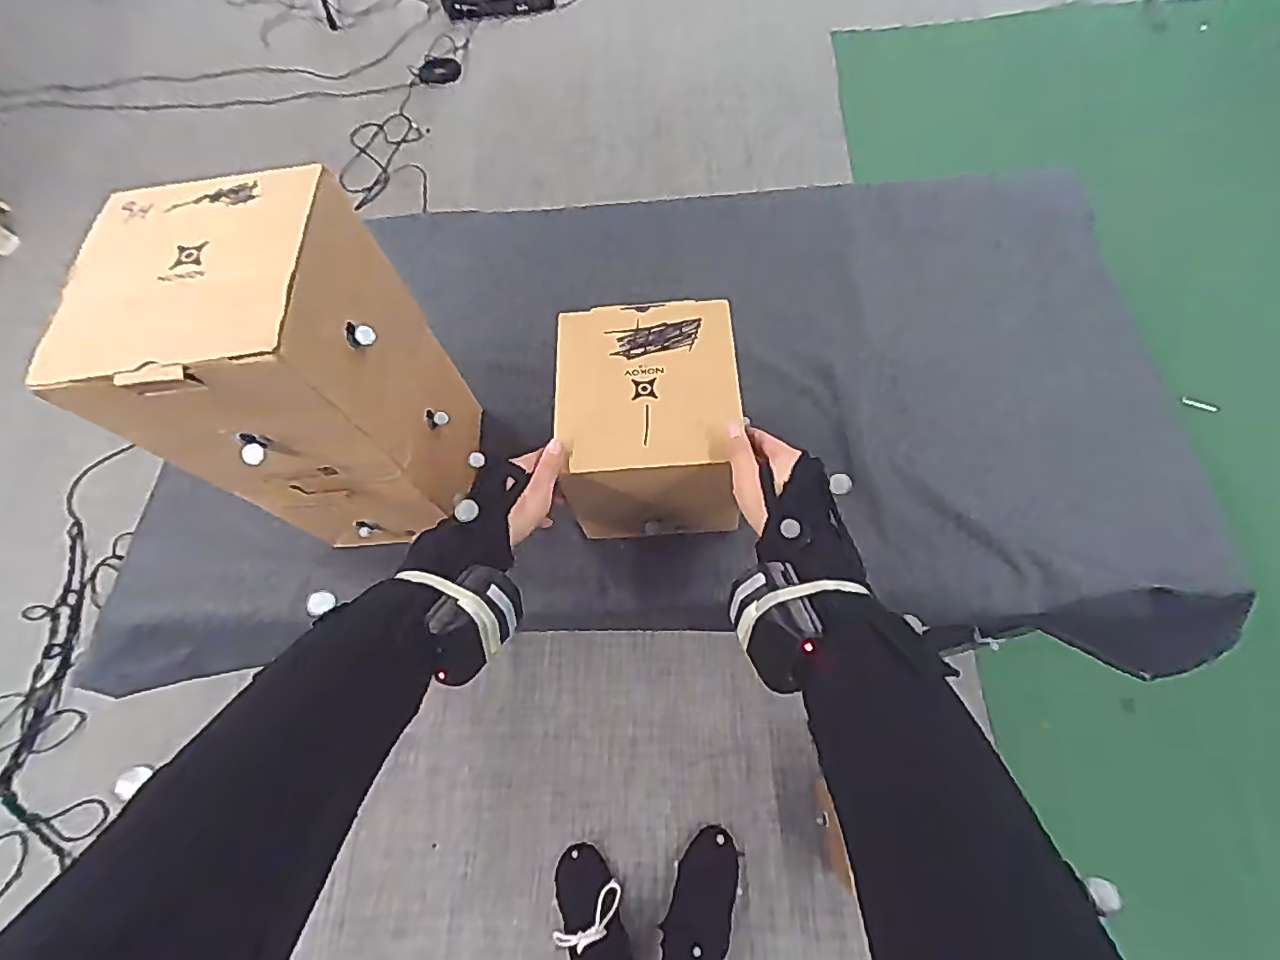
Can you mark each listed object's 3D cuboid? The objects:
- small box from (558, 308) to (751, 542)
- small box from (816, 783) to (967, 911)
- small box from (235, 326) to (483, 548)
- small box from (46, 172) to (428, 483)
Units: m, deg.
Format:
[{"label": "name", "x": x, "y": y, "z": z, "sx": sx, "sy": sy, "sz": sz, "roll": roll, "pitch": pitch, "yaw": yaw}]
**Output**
[{"label": "small box", "x": 0.017, "y": -0.049, "z": 0.559, "sx": 0.168, "sy": 0.176, "sz": 0.179, "roll": -4, "pitch": 64, "yaw": 5}, {"label": "small box", "x": 0.444, "y": 0.656, "z": 0.985, "sx": 0.179, "sy": 0.176, "sz": 0.168, "roll": -7, "pitch": 62, "yaw": -1}, {"label": "small box", "x": -0.280, "y": -0.039, "z": 0.589, "sx": 0.168, "sy": 0.176, "sz": 0.179, "roll": -5, "pitch": 65, "yaw": 3}, {"label": "small box", "x": -0.290, "y": -0.107, "z": 0.440, "sx": 0.168, "sy": 0.176, "sz": 0.179, "roll": -6, "pitch": 65, "yaw": 3}]
